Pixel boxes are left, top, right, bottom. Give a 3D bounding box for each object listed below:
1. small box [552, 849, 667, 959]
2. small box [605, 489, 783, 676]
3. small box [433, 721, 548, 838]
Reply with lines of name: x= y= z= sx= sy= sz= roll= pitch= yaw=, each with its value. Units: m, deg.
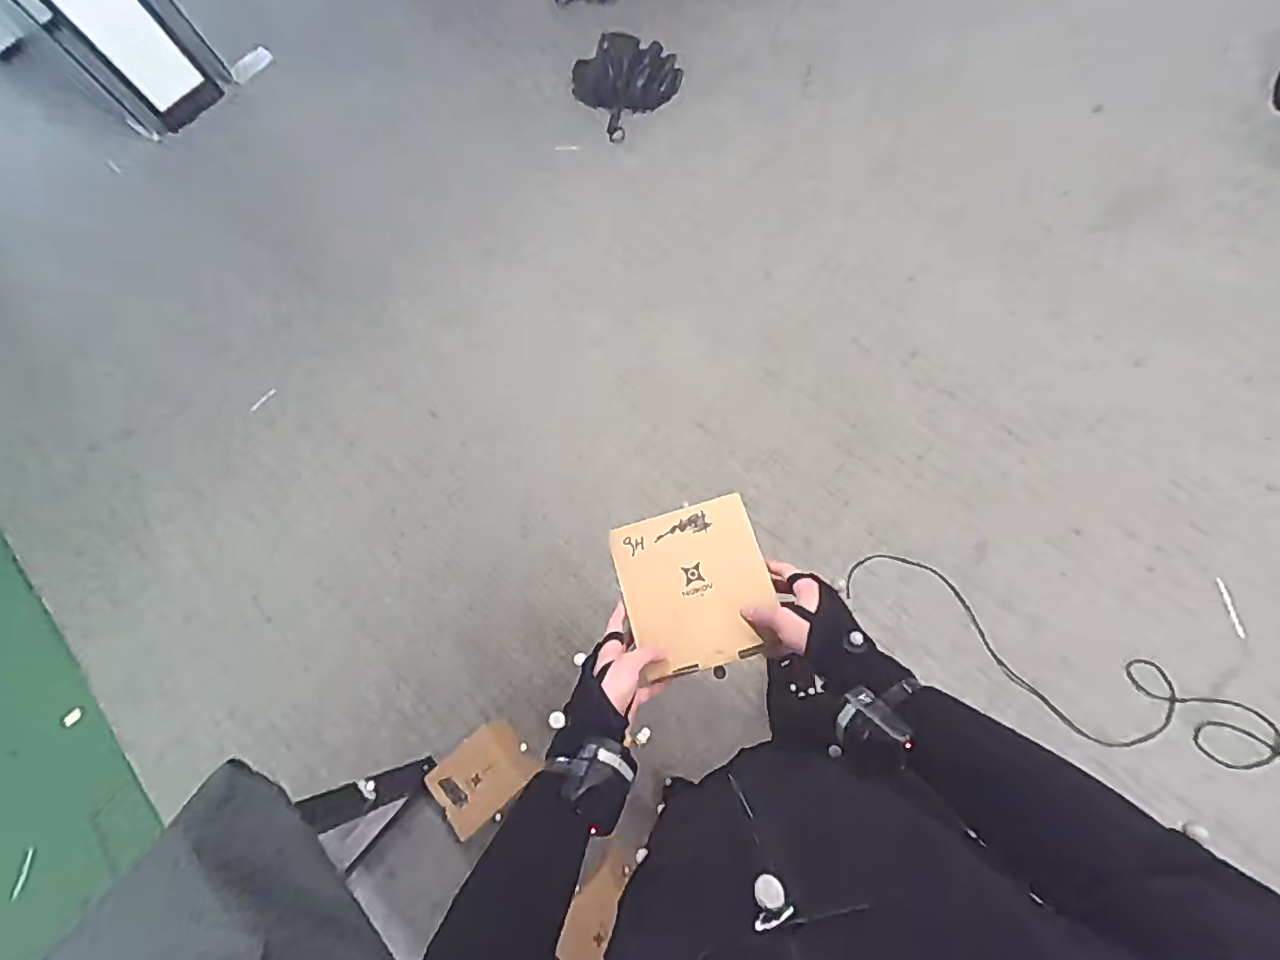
small box: x=-0.056 y=0.951 z=1.172 sx=0.168 sy=0.176 sz=0.179 roll=42 pitch=83 yaw=20
small box: x=0.068 y=0.136 z=0.681 sx=0.168 sy=0.176 sz=0.179 roll=-17 pitch=68 yaw=2
small box: x=-0.350 y=0.705 z=1.295 sx=0.179 sy=0.176 sz=0.168 roll=-41 pitch=70 yaw=-8
